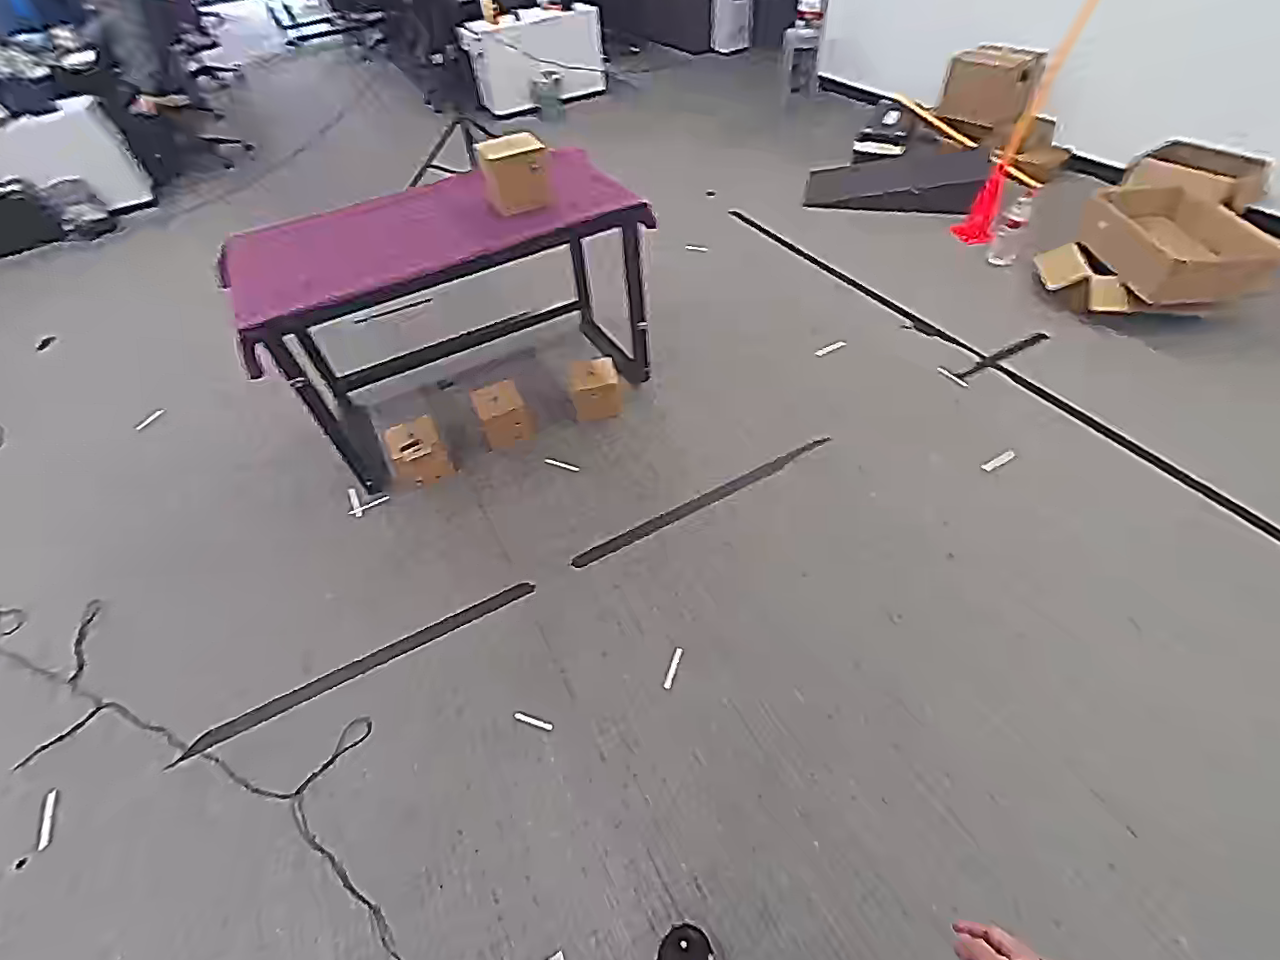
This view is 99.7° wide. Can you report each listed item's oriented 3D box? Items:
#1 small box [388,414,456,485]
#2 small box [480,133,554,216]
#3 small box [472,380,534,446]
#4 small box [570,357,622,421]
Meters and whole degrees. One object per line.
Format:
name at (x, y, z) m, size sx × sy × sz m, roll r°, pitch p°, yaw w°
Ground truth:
small box at (-0.796, -0.105, 1.981) m, size 0.168 × 0.176 × 0.179 m, roll -24°, pitch 51°, yaw -15°
small box at (-0.383, -0.969, 1.716) m, size 0.179 × 0.176 × 0.168 m, roll -24°, pitch 51°, yaw -14°
small box at (-0.524, -0.250, 2.082) m, size 0.168 × 0.176 × 0.179 m, roll -23°, pitch 51°, yaw -15°
small box at (-0.171, -0.356, 2.141) m, size 0.179 × 0.176 × 0.168 m, roll -12°, pitch 51°, yaw -4°
